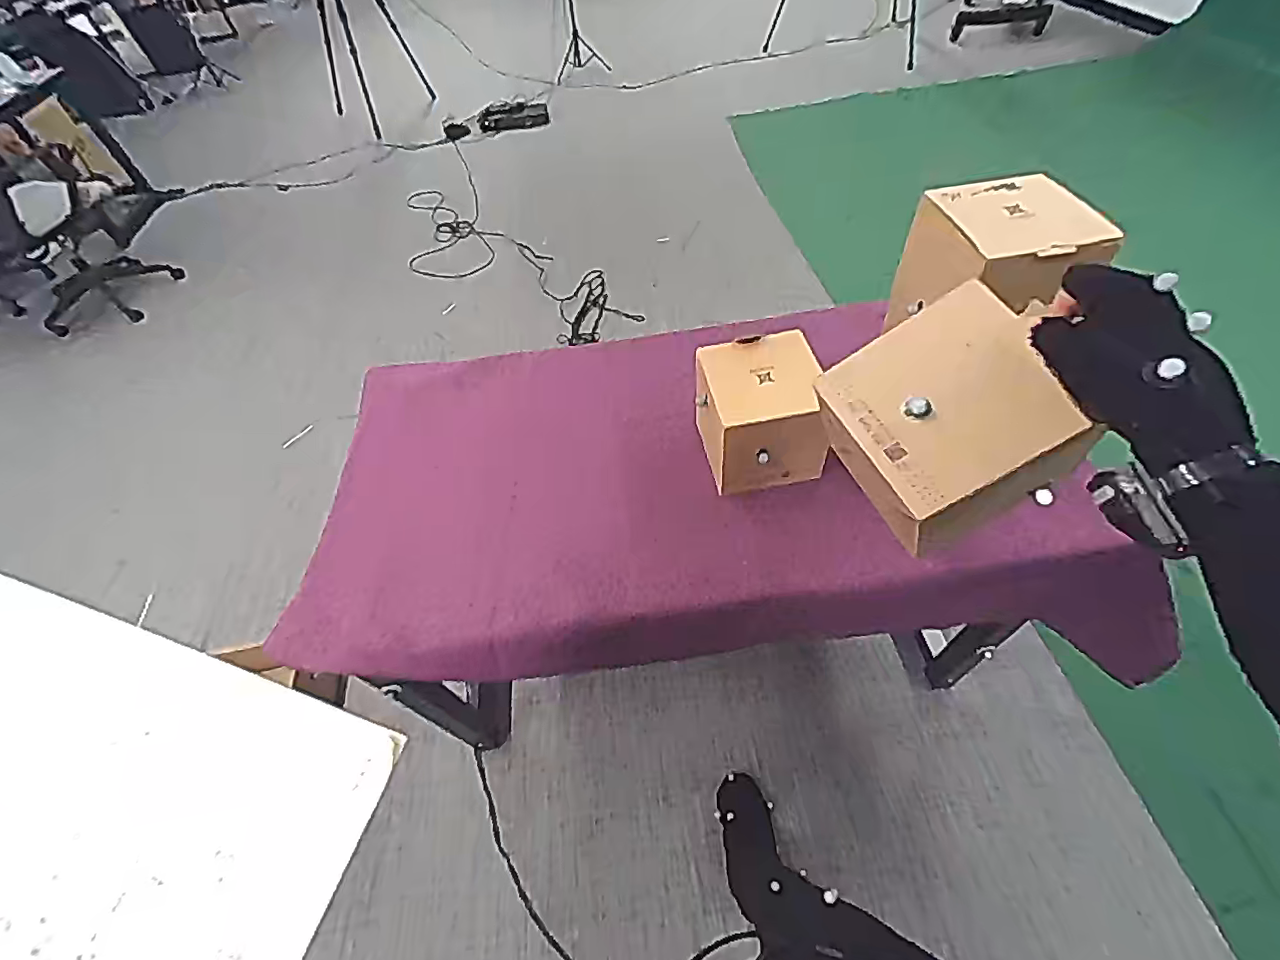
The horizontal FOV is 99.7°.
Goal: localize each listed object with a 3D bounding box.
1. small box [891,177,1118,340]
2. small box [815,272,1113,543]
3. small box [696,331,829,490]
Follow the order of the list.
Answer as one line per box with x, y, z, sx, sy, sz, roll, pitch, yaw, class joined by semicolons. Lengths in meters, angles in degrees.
0.476;-0.280;0.742;0.168;0.176;0.179;-7;53;0;small box
0.295;-0.056;0.535;0.176;0.179;0.168;-34;61;13;small box
0.188;-0.101;0.849;0.168;0.176;0.179;-11;52;-1;small box
